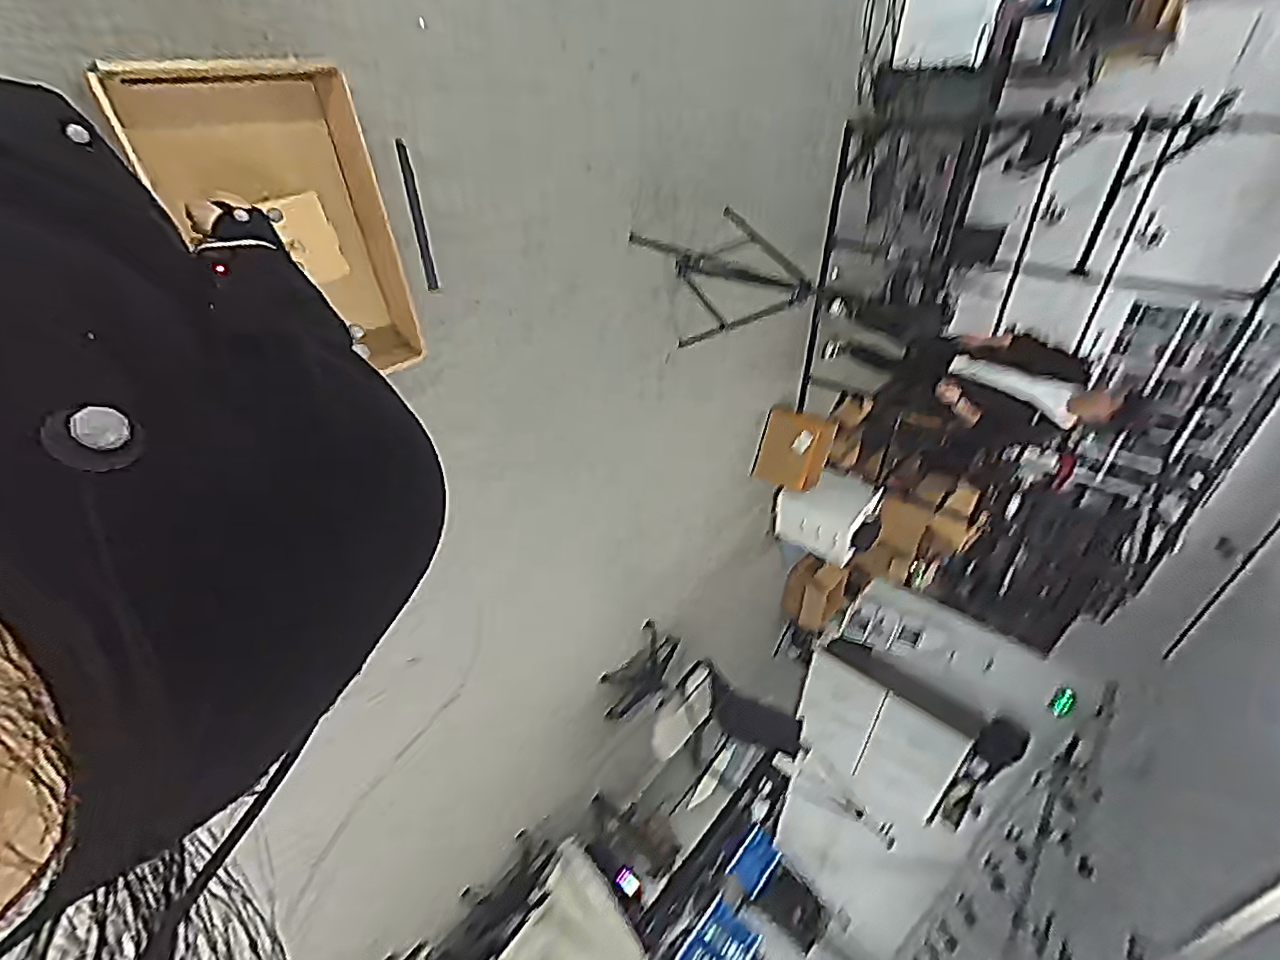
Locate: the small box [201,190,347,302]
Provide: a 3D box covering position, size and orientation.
[{"bbox_3d":[-0.763,-0.496,1.131,0.179,0.176,0.168,-38,137,-31],"label":"small box"}]
